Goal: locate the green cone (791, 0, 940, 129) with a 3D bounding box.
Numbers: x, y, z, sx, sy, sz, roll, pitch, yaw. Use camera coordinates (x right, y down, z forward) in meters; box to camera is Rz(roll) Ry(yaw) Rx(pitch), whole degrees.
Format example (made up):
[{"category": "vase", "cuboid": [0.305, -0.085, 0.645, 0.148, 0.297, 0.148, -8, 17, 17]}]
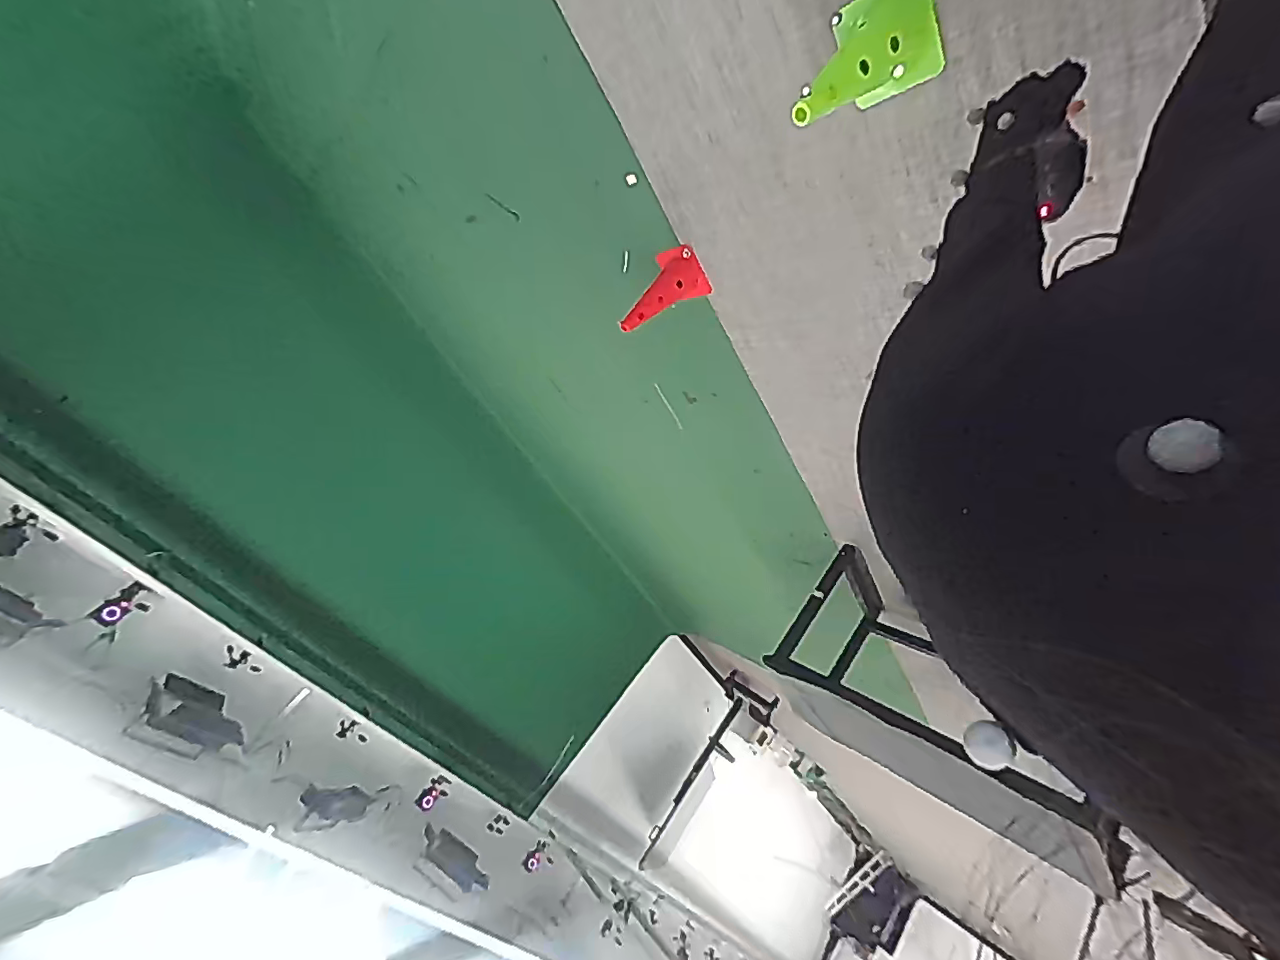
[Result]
[{"category": "green cone", "cuboid": [0.409, -0.801, 1.085, 0.202, 0.368, 0.200, 9, 142, 53]}]
